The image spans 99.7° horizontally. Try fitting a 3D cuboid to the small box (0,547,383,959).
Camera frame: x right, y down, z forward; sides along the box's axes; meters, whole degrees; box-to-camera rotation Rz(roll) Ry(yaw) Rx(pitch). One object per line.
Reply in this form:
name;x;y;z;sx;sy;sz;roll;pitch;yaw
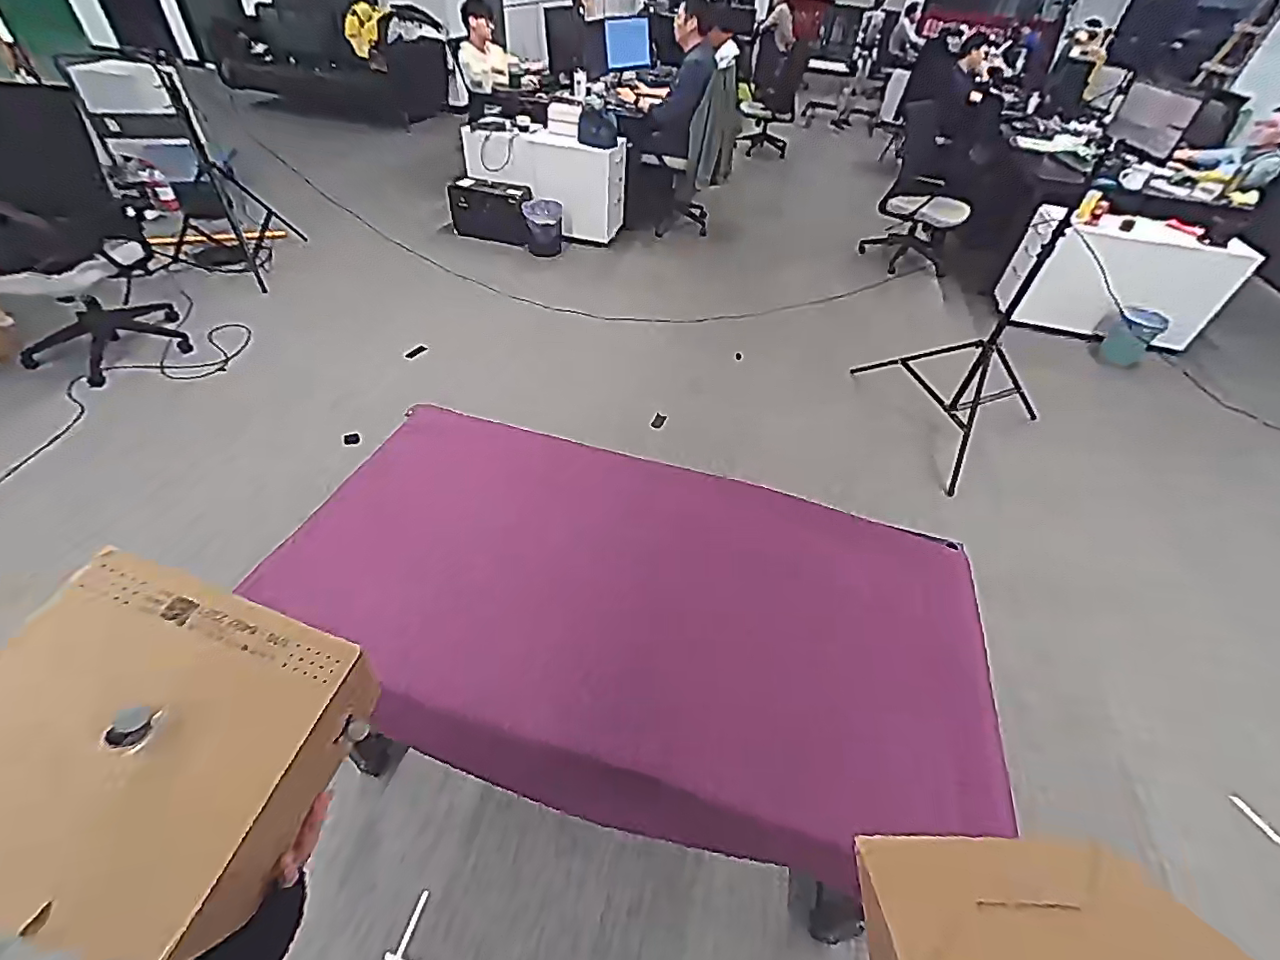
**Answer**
small box;-0.295;0.170;0.356;0.168;0.179;0.176;25;54;-4
